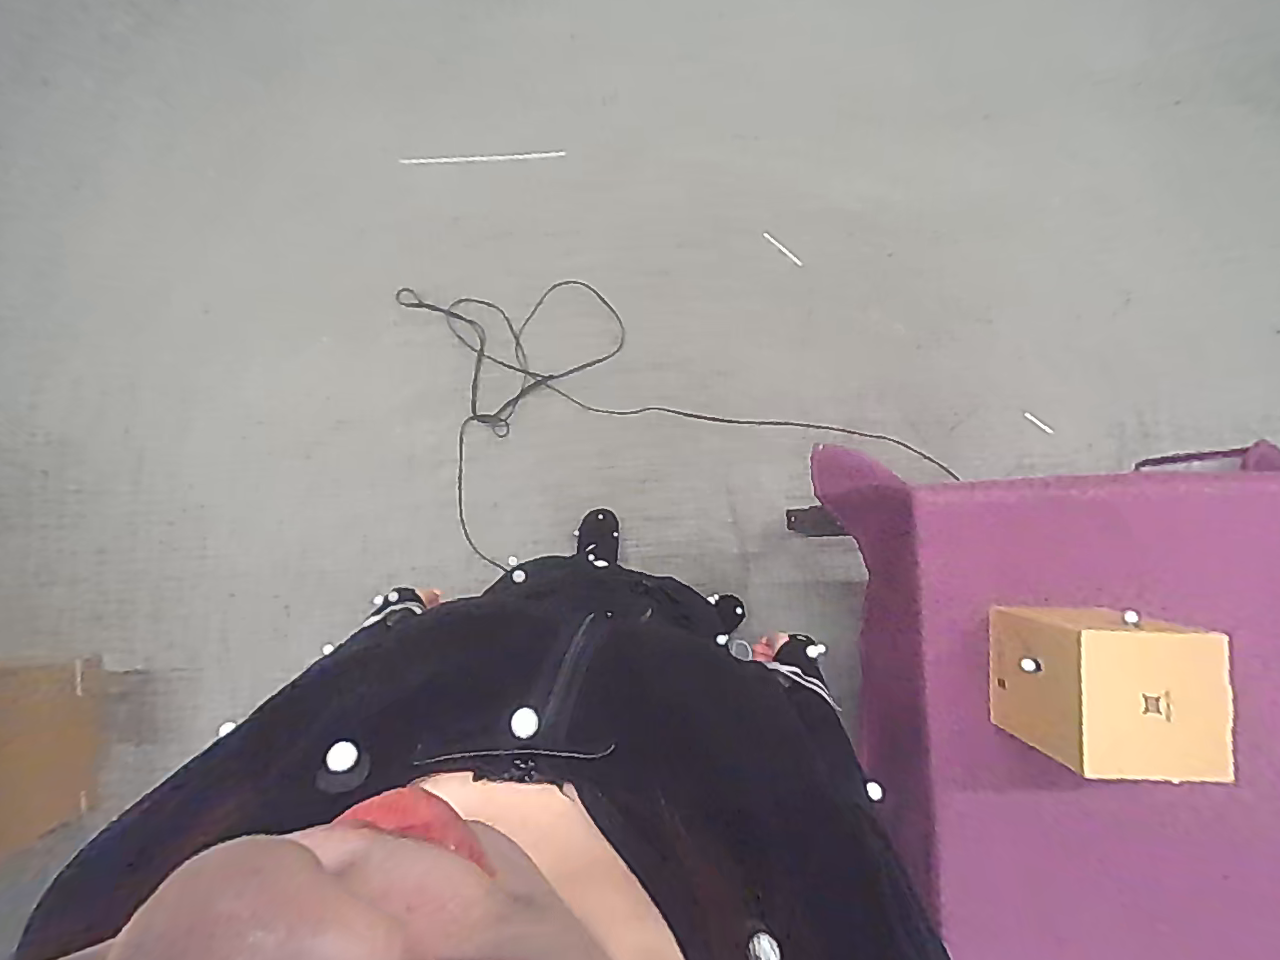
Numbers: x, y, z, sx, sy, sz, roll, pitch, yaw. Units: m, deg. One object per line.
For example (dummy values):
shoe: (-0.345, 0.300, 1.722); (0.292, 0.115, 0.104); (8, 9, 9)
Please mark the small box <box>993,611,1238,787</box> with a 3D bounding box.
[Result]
small box: (0.584, 0.265, 0.690); (0.179, 0.176, 0.168); (2, 86, -1)
